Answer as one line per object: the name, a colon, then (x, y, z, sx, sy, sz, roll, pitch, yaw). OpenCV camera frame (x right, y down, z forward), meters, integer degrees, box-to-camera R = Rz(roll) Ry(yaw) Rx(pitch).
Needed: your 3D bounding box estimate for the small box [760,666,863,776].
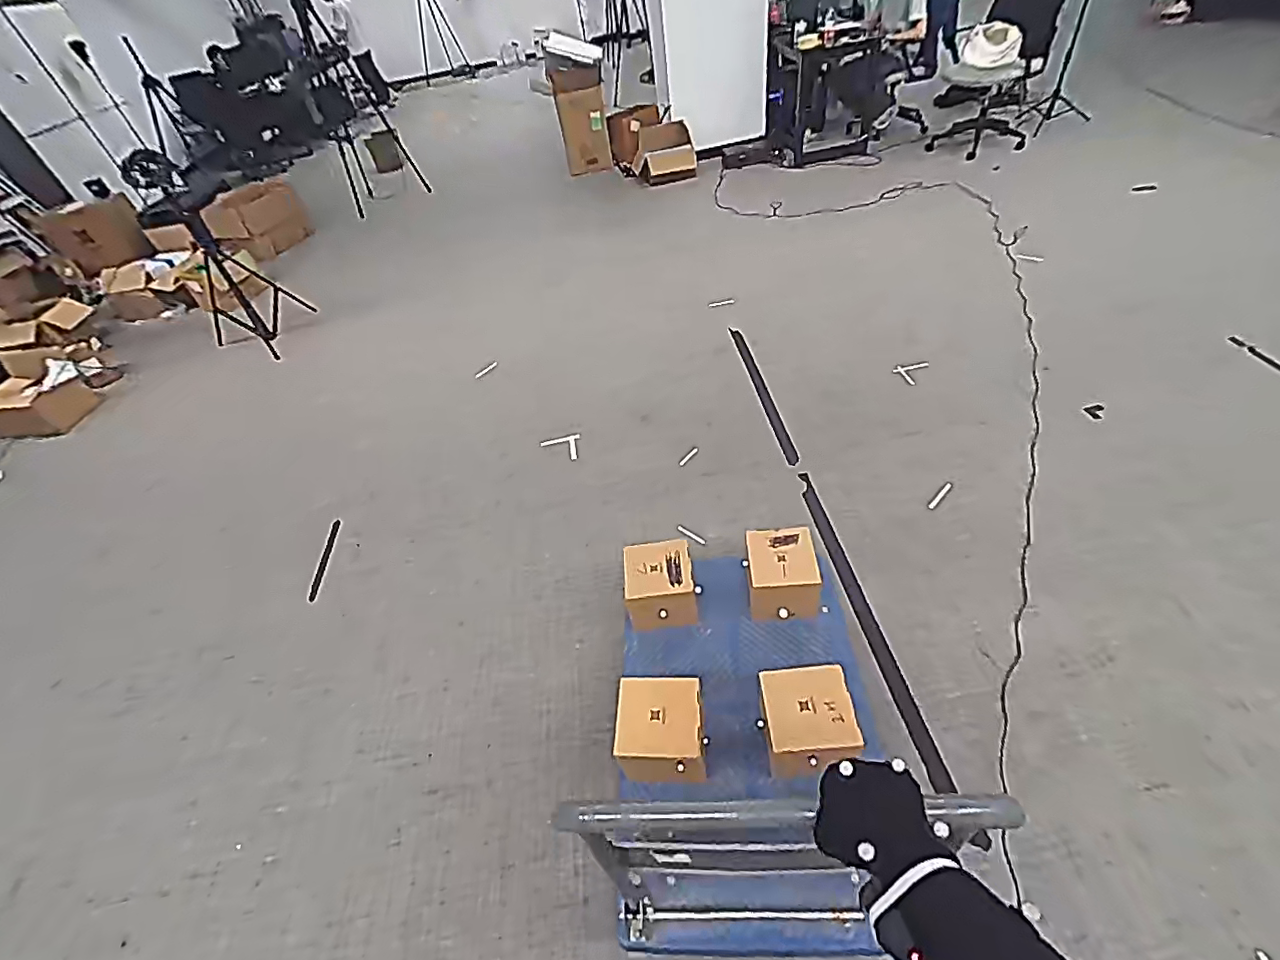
small box: (0.358, 0.519, 1.157, 0.179, 0.176, 0.168, -7, 45, 5)

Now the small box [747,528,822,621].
small box: (0.371, 0.249, 1.421, 0.168, 0.176, 0.179, -5, 46, 7)

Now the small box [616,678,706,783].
small box: (0.052, 0.553, 1.192, 0.179, 0.176, 0.168, -3, 45, 7)
